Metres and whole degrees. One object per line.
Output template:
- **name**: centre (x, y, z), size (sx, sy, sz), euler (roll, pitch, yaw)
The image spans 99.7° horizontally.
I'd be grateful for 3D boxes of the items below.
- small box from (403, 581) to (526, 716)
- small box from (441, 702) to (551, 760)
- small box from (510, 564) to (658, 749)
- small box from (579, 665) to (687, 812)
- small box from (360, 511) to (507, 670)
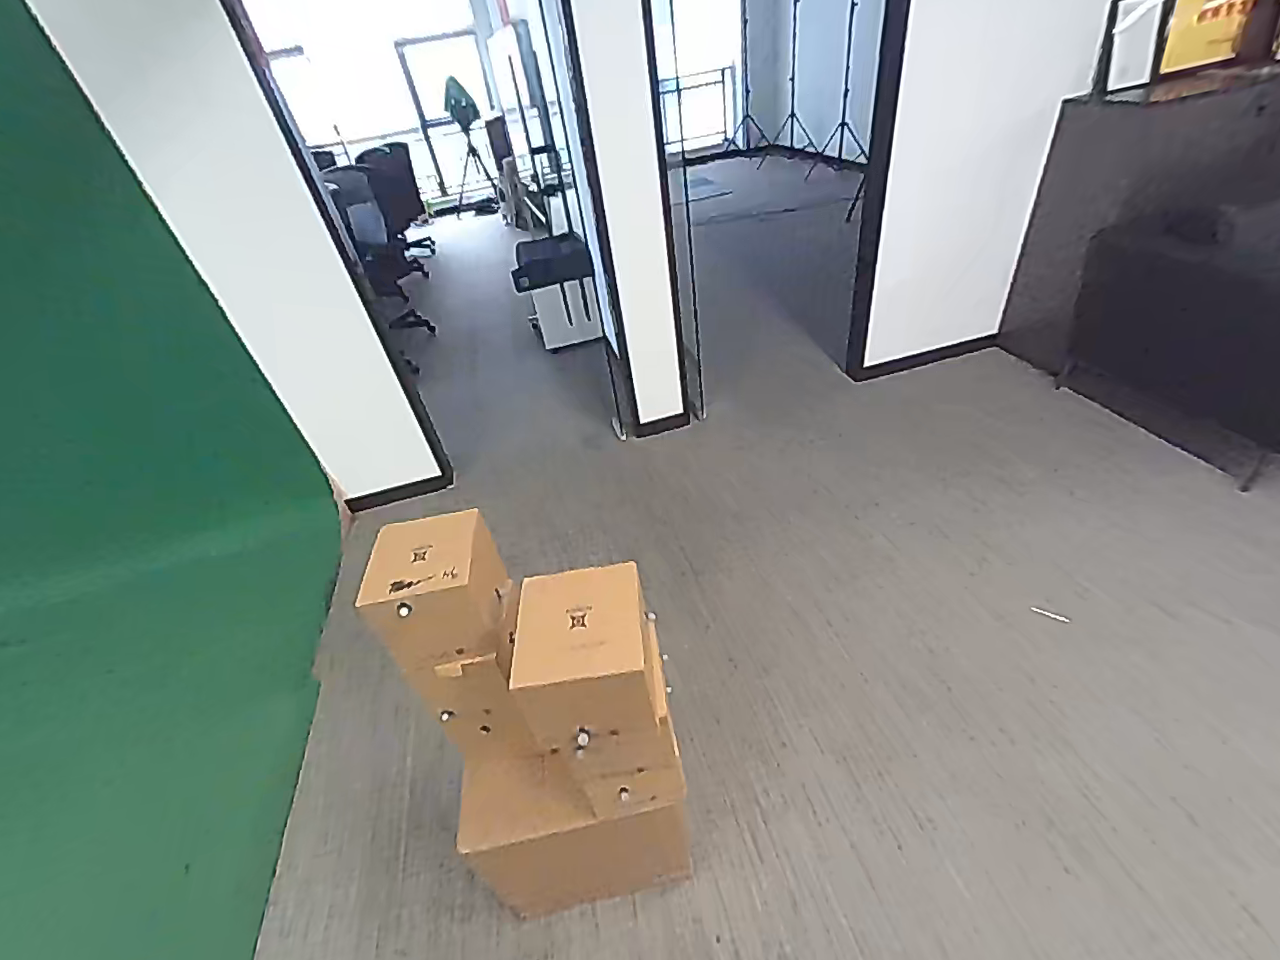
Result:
- **small box**: centre (-0.297, 0.313, 0.989), size (0.168, 0.176, 0.179), euler (-7, 37, 4)
- **small box**: centre (-0.270, 0.441, 1.088), size (0.179, 0.176, 0.168), euler (-7, 38, 2)
- **small box**: centre (-0.069, 0.245, 0.757), size (0.168, 0.176, 0.179), euler (-9, 38, 2)
- **small box**: centre (-0.017, 0.476, 0.986), size (0.168, 0.176, 0.179), euler (-13, 38, -4)
- **small box**: centre (-0.325, 0.181, 0.894), size (0.168, 0.176, 0.179), euler (-12, 37, -1)
